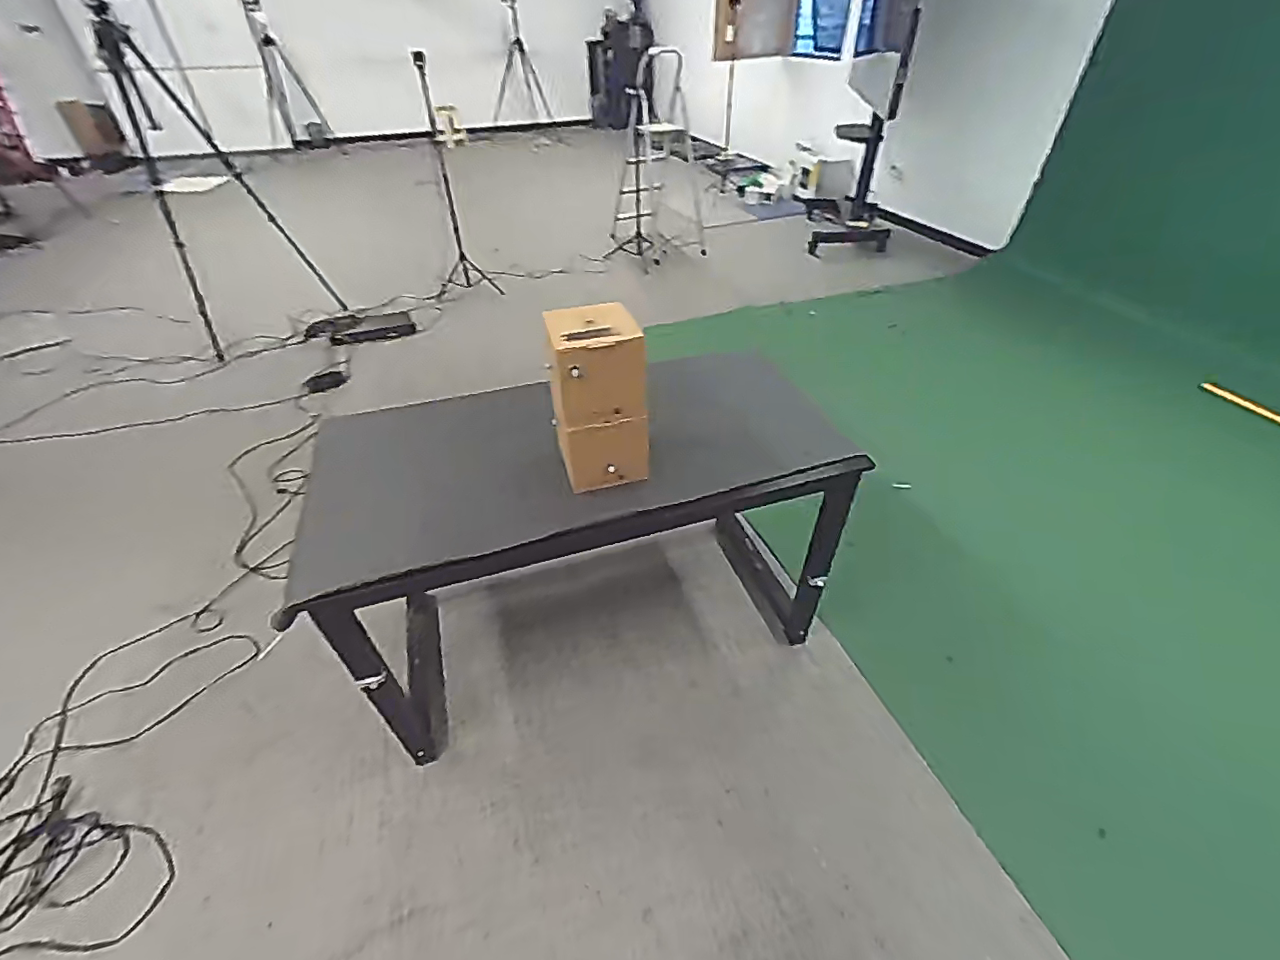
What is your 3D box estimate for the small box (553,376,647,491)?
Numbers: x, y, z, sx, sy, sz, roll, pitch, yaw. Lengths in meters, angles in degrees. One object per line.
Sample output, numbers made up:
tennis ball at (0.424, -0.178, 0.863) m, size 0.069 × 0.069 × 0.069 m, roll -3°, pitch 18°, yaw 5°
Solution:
small box at (-0.087, -0.102, 1.172) m, size 0.168 × 0.176 × 0.179 m, roll -13°, pitch 42°, yaw -12°
